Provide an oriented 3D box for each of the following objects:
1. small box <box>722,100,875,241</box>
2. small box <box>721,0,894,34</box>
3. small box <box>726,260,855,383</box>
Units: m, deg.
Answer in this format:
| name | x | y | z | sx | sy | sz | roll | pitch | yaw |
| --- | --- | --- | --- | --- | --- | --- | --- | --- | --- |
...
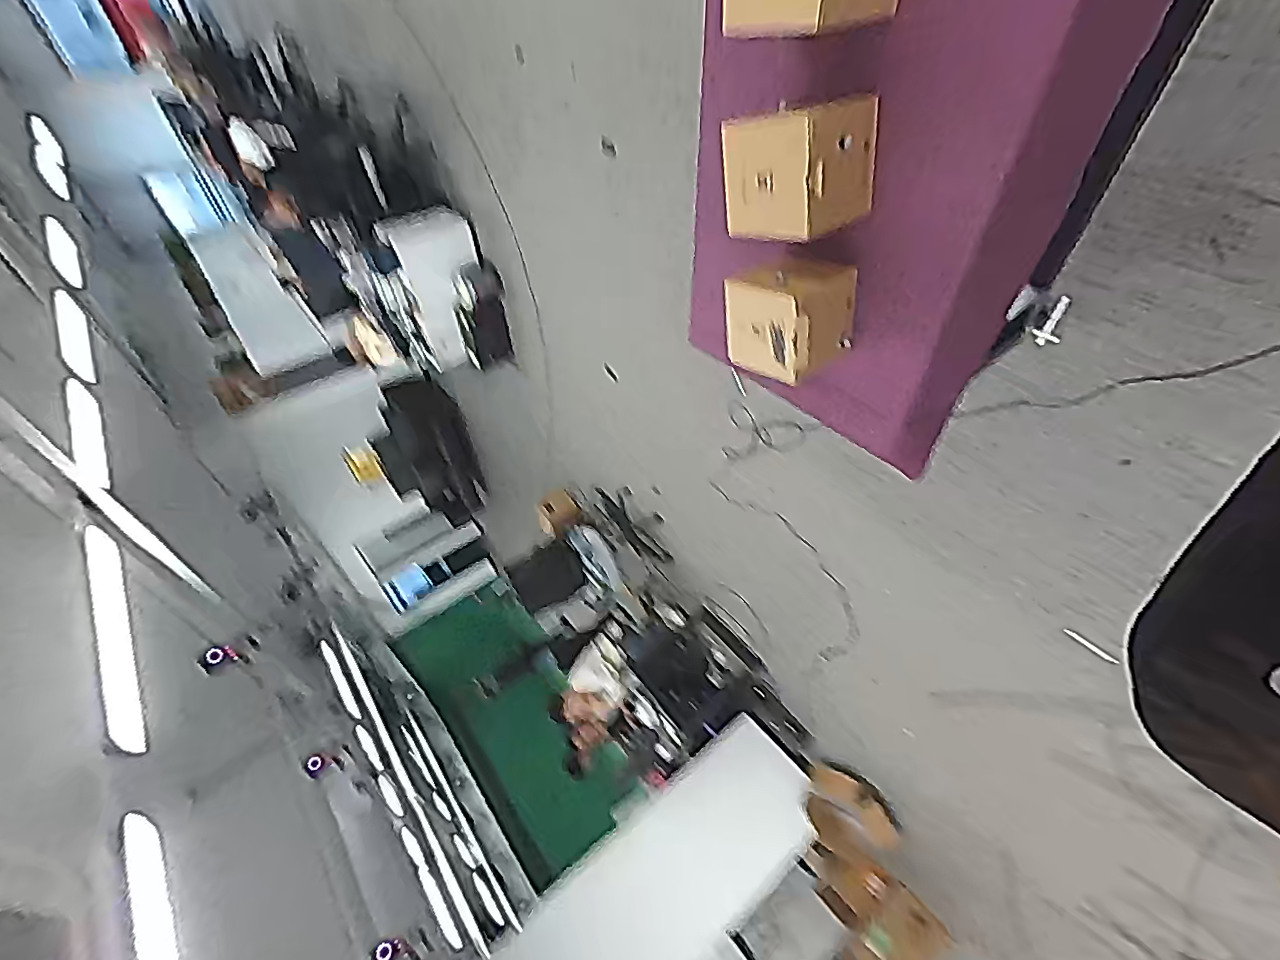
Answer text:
| name | x | y | z | sx | sy | sz | roll | pitch | yaw |
| --- | --- | --- | --- | --- | --- | --- | --- | --- | --- |
| small box | 0.261 | -0.509 | 0.891 | 0.179 | 0.176 | 0.168 | 32 | 144 | 45 |
| small box | 0.229 | -0.710 | 0.721 | 0.179 | 0.176 | 0.168 | 38 | 148 | 38 |
| small box | 0.291 | -0.314 | 1.047 | 0.179 | 0.176 | 0.168 | 34 | 145 | 44 |
